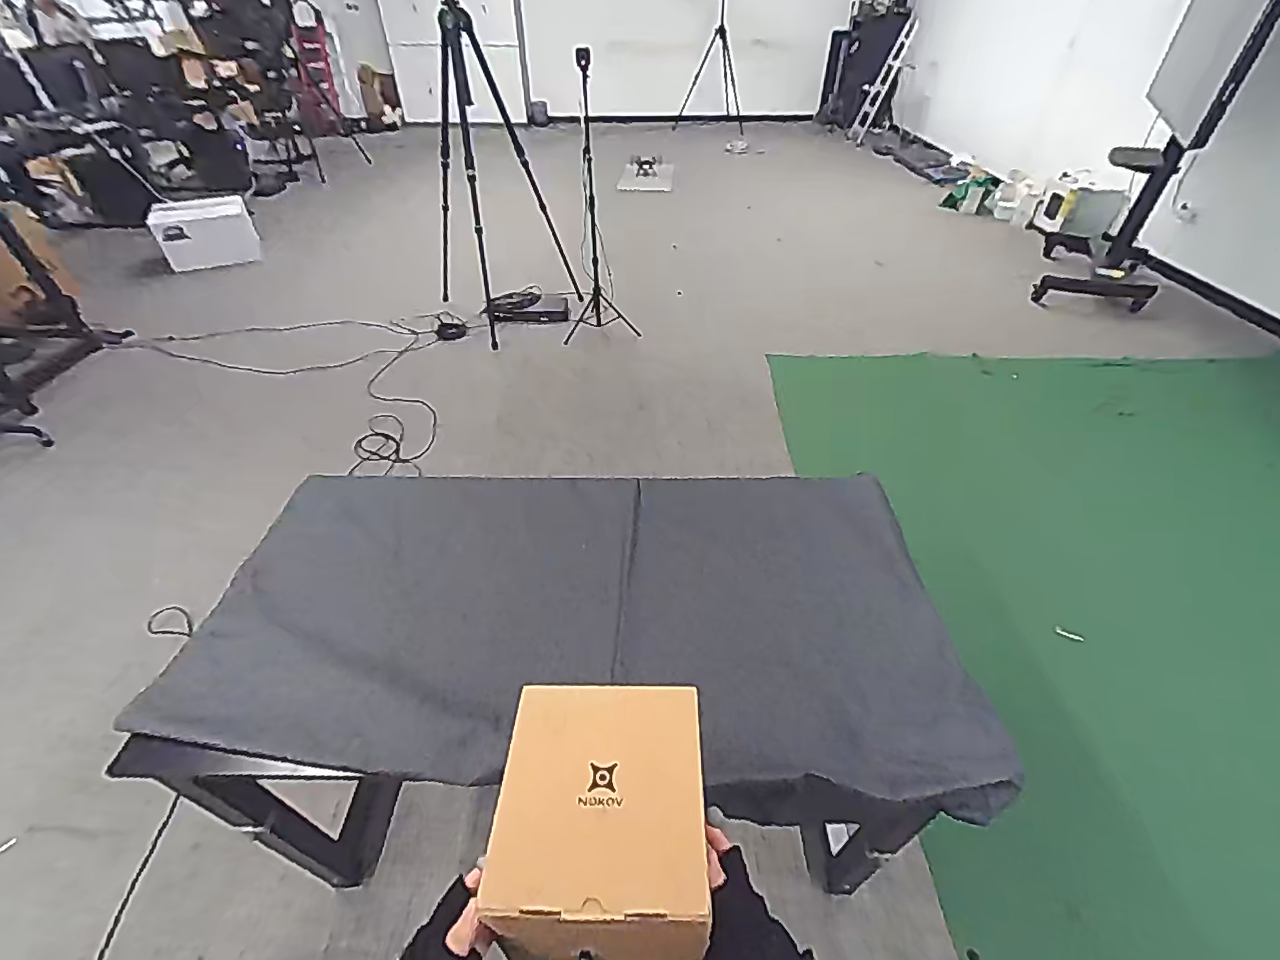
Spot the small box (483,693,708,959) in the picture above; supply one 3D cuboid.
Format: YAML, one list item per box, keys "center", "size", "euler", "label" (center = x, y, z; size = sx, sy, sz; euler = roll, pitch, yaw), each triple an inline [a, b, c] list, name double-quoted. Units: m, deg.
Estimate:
- center: [-0.029, 0.323, 0.499]
  size: [0.168, 0.176, 0.179]
  euler: [0, 38, 2]
  label: "small box"
